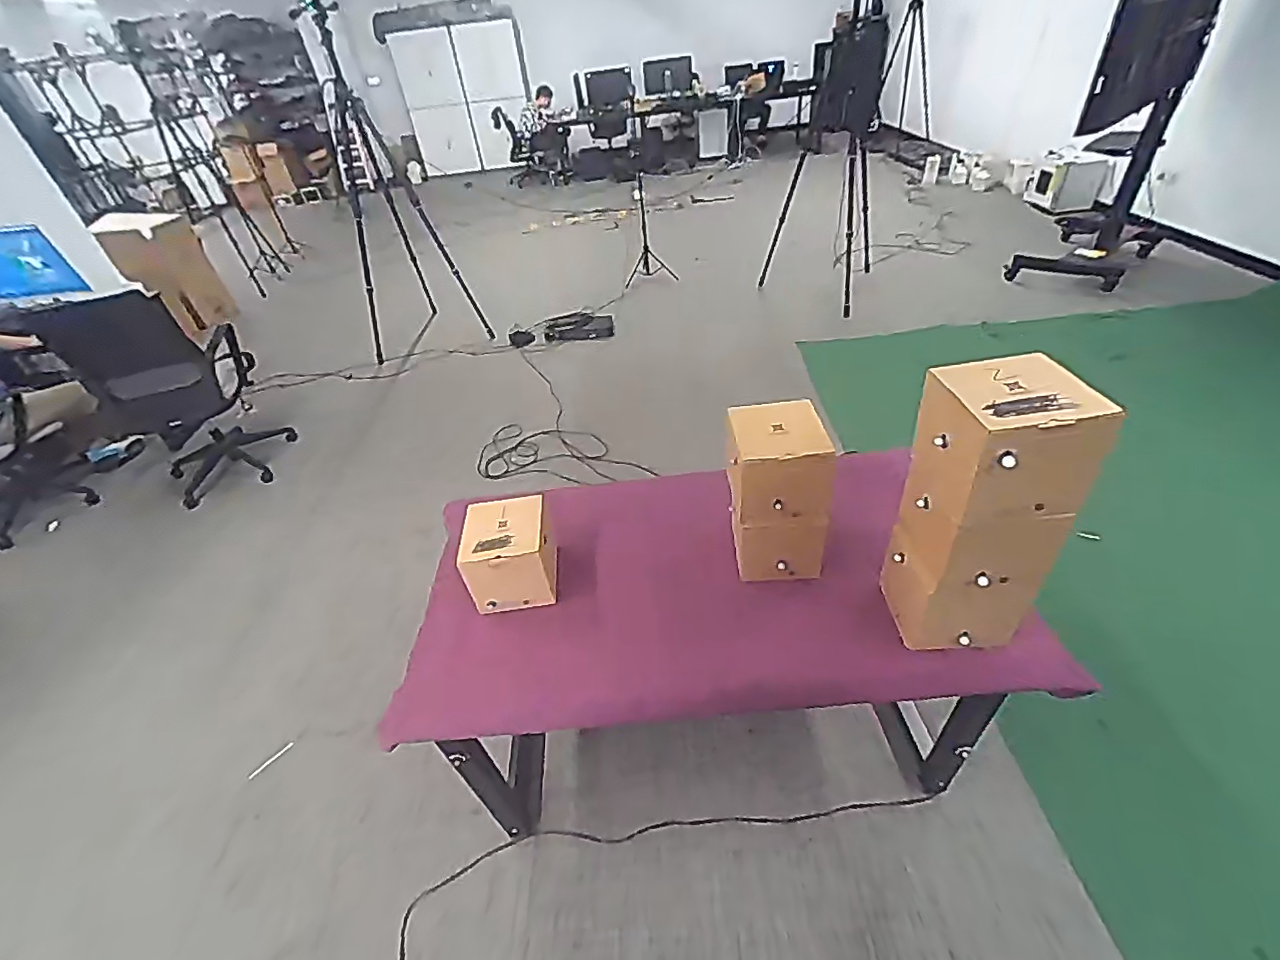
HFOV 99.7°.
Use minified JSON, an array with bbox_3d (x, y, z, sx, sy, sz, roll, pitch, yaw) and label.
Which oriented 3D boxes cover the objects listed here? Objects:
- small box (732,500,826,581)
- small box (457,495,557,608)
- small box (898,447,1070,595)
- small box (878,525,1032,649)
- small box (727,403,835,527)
[{"bbox_3d":[0.288,0.096,1.162,0.168,0.176,0.179,-4,40,5],"label":"small box"},{"bbox_3d":[-0.278,0.160,1.172,0.168,0.176,0.179,-8,39,-1],"label":"small box"},{"bbox_3d":[0.549,0.068,0.897,0.168,0.176,0.179,-5,40,6],"label":"small box"},{"bbox_3d":[0.565,0.195,0.998,0.179,0.176,0.168,-4,39,5],"label":"small box"},{"bbox_3d":[0.264,-0.030,1.061,0.168,0.176,0.179,-6,41,2],"label":"small box"}]
